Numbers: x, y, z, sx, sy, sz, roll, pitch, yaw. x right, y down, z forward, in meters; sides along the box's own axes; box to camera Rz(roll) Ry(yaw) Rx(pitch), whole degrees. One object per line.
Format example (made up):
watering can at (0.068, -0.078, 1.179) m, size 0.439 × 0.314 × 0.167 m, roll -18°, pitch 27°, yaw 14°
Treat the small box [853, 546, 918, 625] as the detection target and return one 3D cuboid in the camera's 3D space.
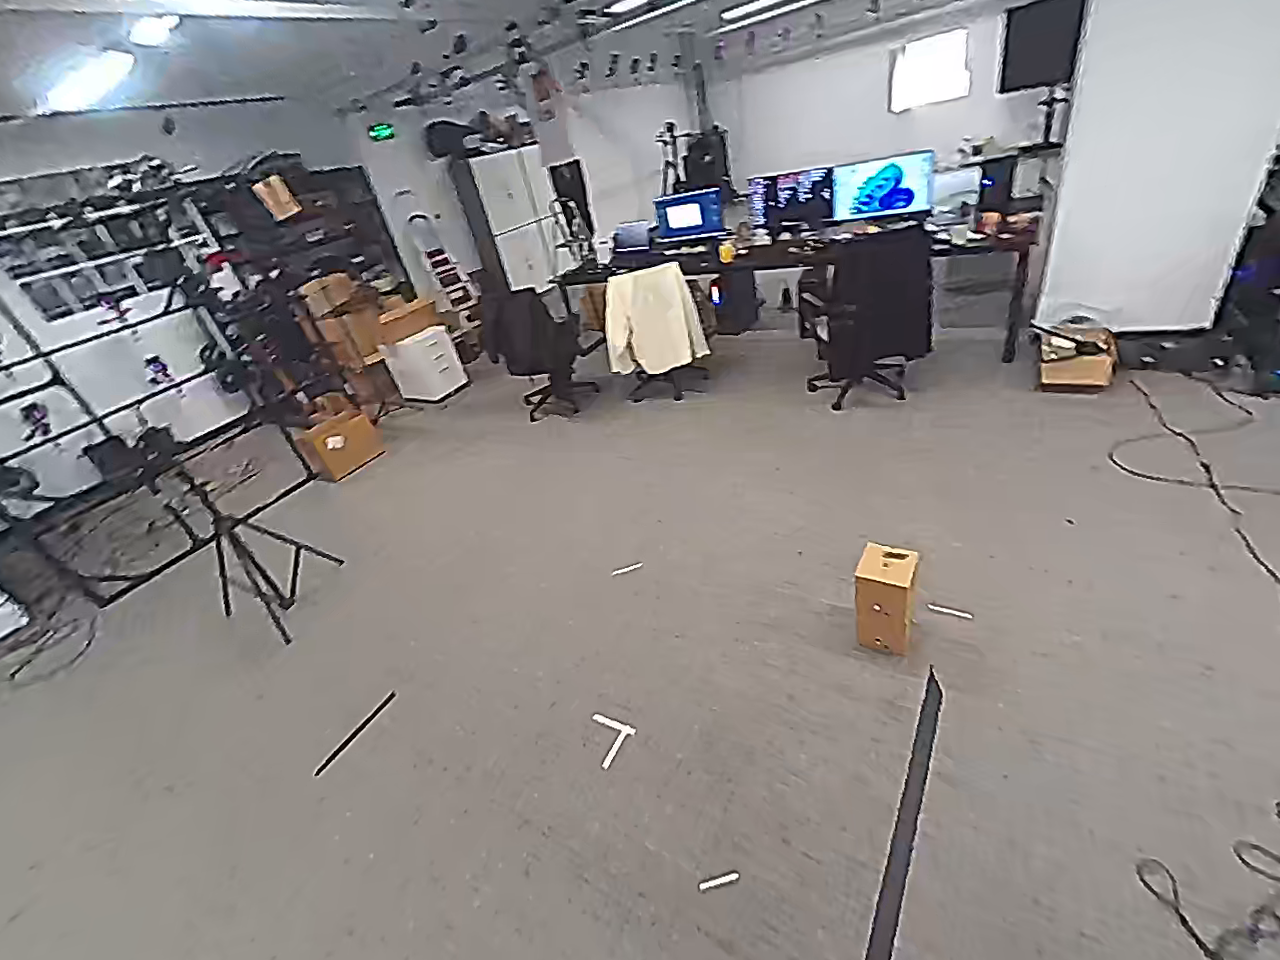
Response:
small box at (0.829, 0.354, 1.829) m, size 0.168 × 0.176 × 0.179 m, roll 10°, pitch 40°, yaw 34°
